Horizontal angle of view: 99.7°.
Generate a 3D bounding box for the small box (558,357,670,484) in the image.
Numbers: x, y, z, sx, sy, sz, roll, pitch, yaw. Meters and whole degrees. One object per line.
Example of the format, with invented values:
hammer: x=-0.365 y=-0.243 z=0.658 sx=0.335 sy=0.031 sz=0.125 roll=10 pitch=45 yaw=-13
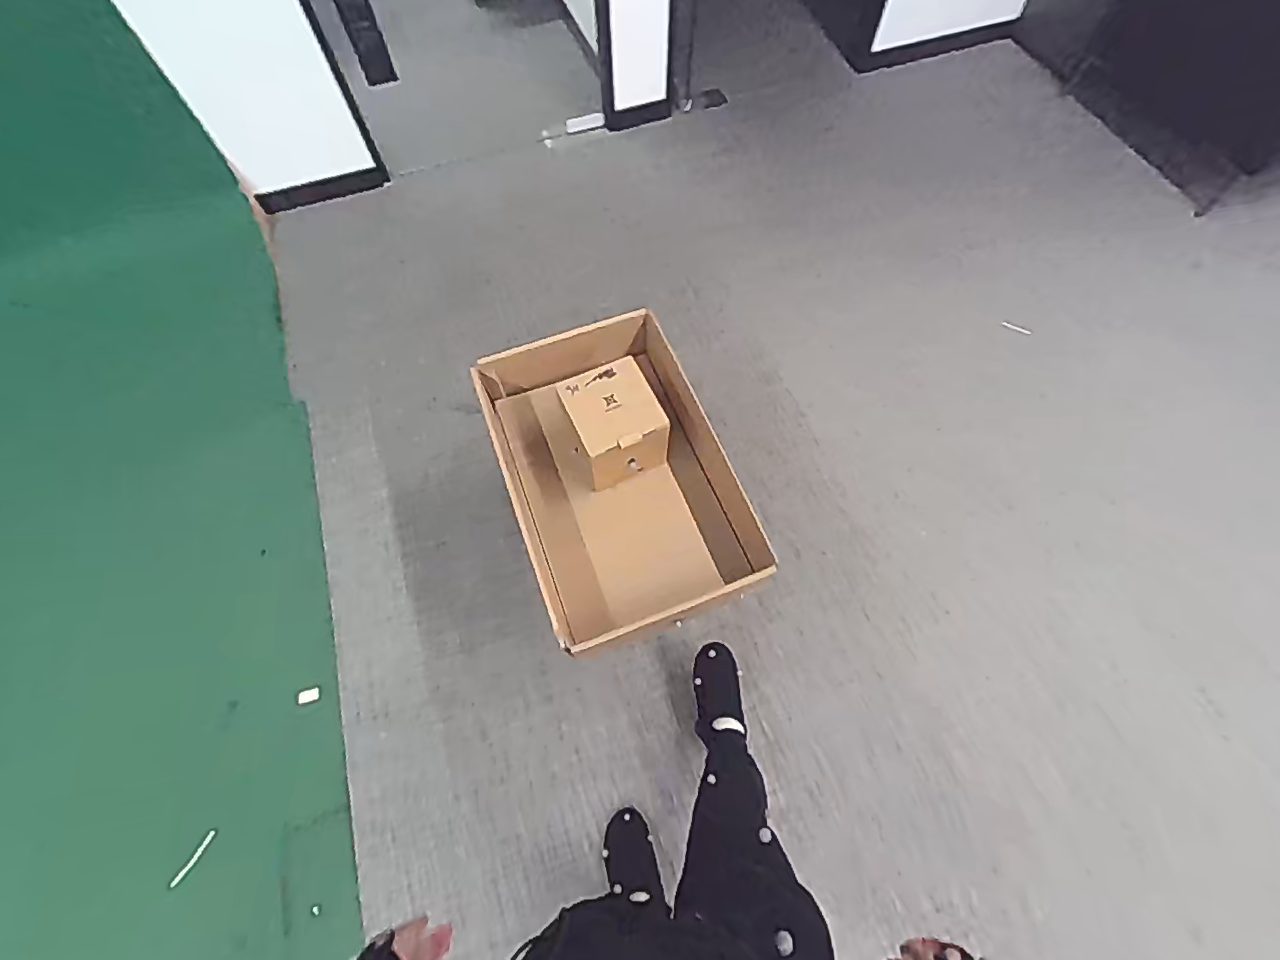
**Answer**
small box: x=-0.052 y=-0.109 z=1.093 sx=0.168 sy=0.176 sz=0.179 roll=-22 pitch=69 yaw=-11
